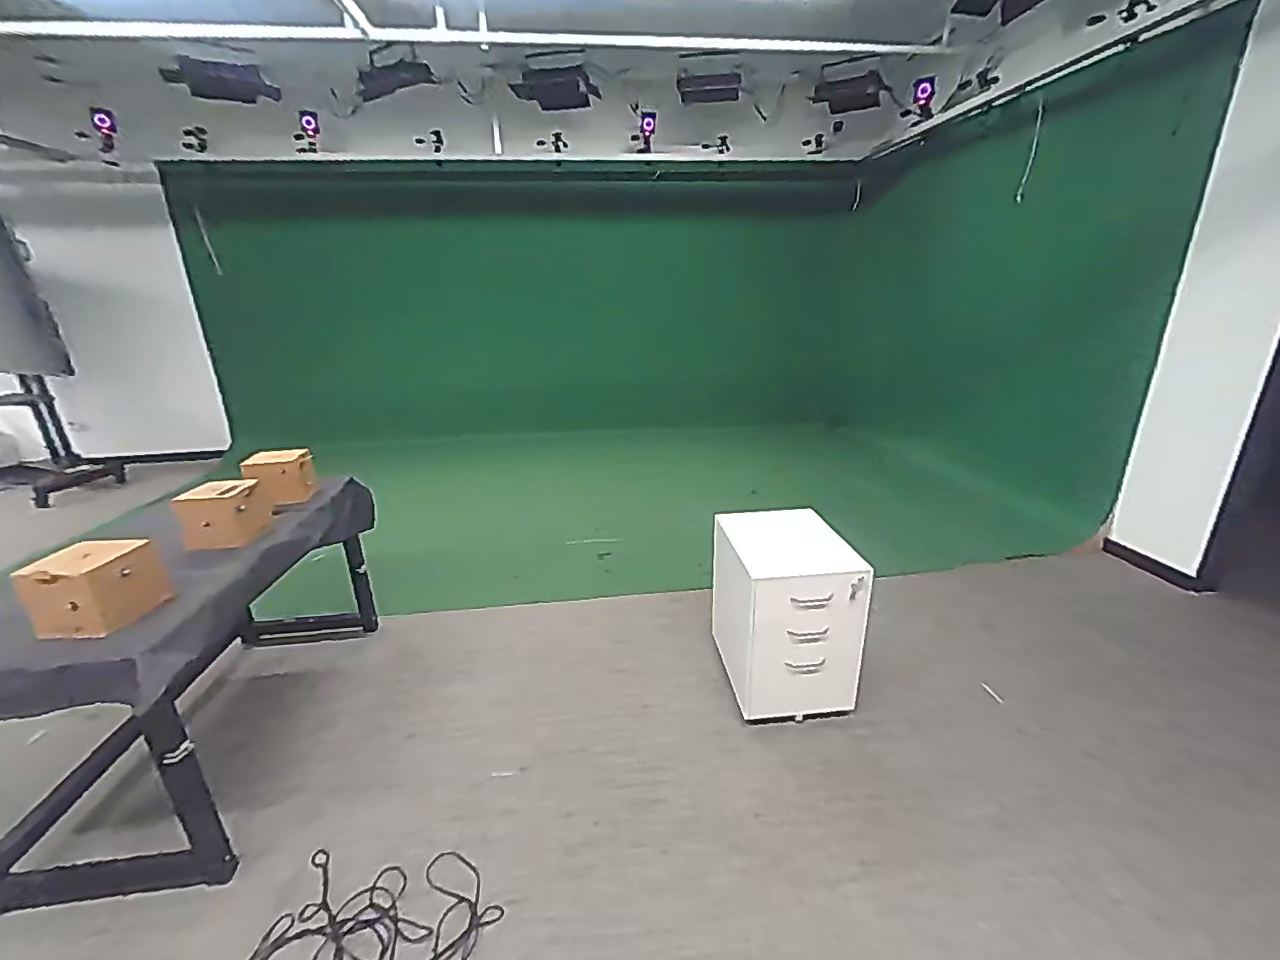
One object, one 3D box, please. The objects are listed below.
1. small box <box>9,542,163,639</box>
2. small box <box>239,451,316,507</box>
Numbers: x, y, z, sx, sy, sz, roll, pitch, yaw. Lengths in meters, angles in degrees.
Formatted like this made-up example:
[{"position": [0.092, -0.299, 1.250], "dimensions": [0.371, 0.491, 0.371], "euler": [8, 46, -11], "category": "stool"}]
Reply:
[{"position": [-1.288, 0.260, 1.276], "dimensions": [0.168, 0.176, 0.179], "euler": [-1, 18, 0], "category": "small box"}, {"position": [-1.355, -0.003, 2.032], "dimensions": [0.179, 0.176, 0.168], "euler": [-5, 20, -11], "category": "small box"}]
